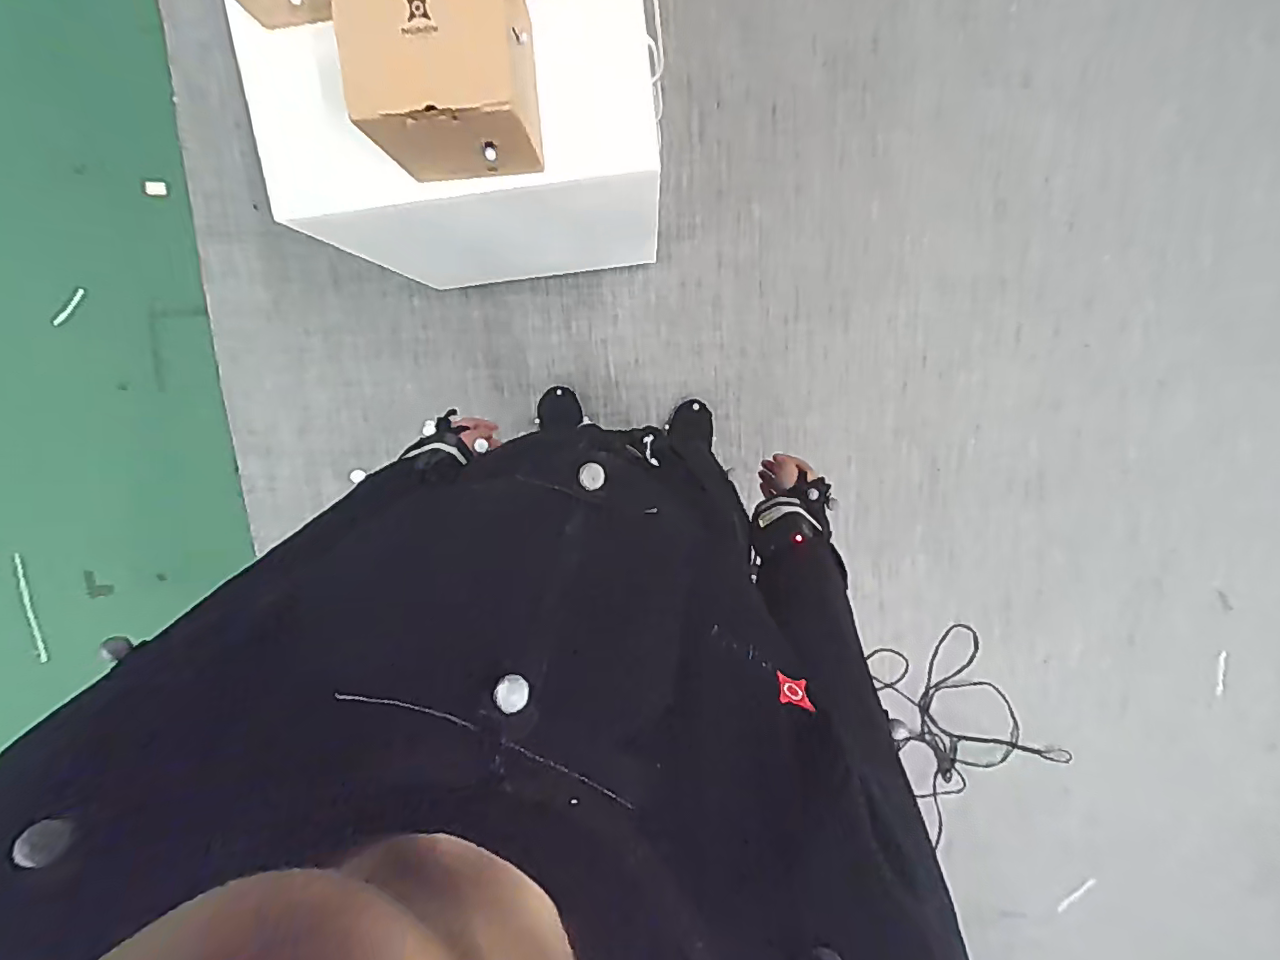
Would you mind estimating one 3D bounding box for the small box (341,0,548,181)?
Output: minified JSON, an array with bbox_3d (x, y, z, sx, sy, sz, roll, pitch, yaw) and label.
[{"bbox_3d":[-0.201,-0.449,0.596,0.168,0.176,0.179,-3,99,1],"label":"small box"}]
